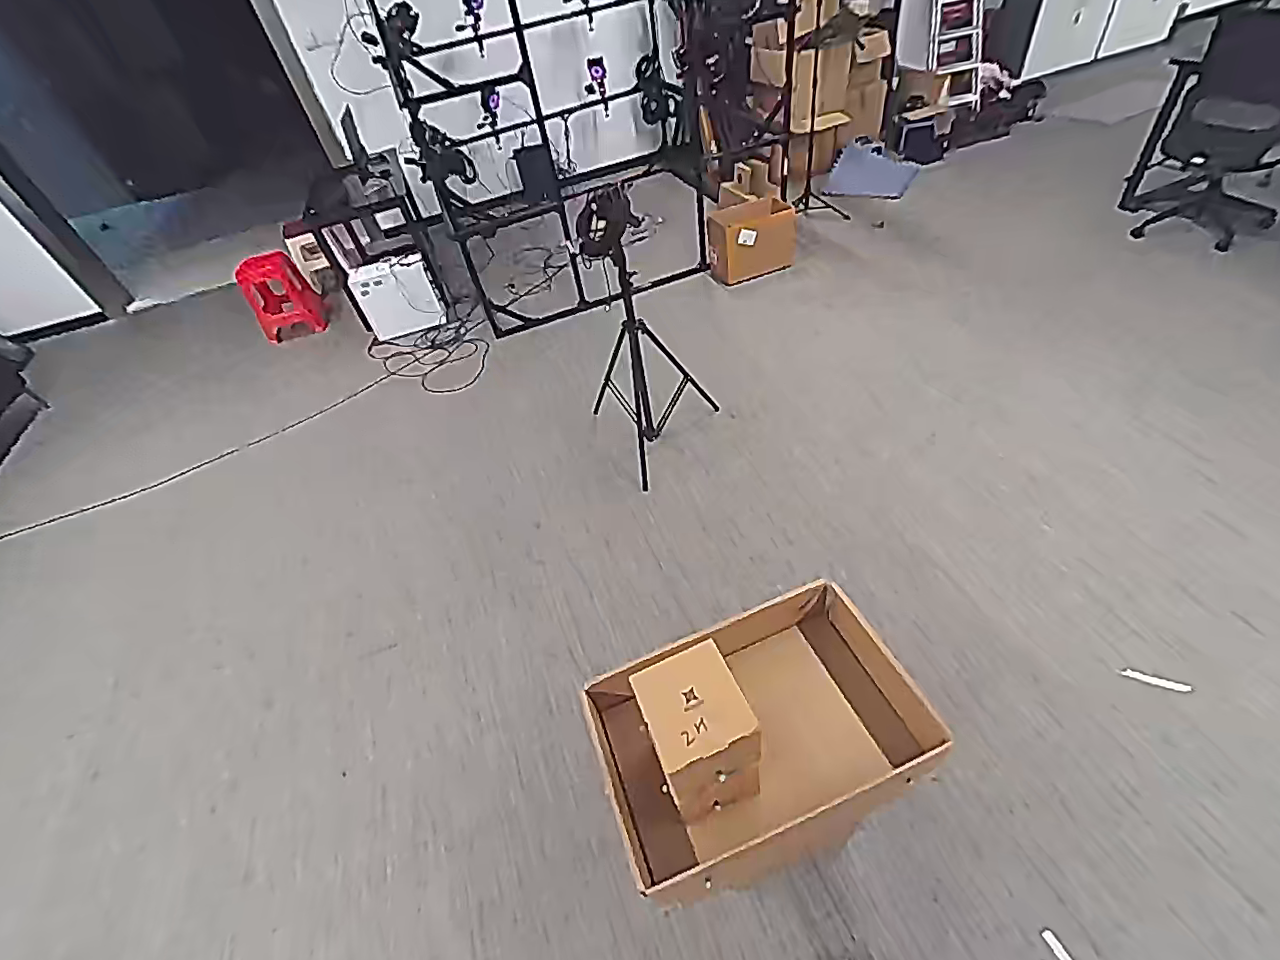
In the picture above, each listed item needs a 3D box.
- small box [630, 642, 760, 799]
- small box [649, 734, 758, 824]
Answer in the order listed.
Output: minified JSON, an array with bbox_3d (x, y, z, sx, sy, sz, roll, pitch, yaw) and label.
[{"bbox_3d":[0.097,0.429,0.963,0.168,0.176,0.179,-22,47,-9],"label":"small box"},{"bbox_3d":[0.120,0.545,1.077,0.168,0.176,0.179,-22,46,-8],"label":"small box"}]
